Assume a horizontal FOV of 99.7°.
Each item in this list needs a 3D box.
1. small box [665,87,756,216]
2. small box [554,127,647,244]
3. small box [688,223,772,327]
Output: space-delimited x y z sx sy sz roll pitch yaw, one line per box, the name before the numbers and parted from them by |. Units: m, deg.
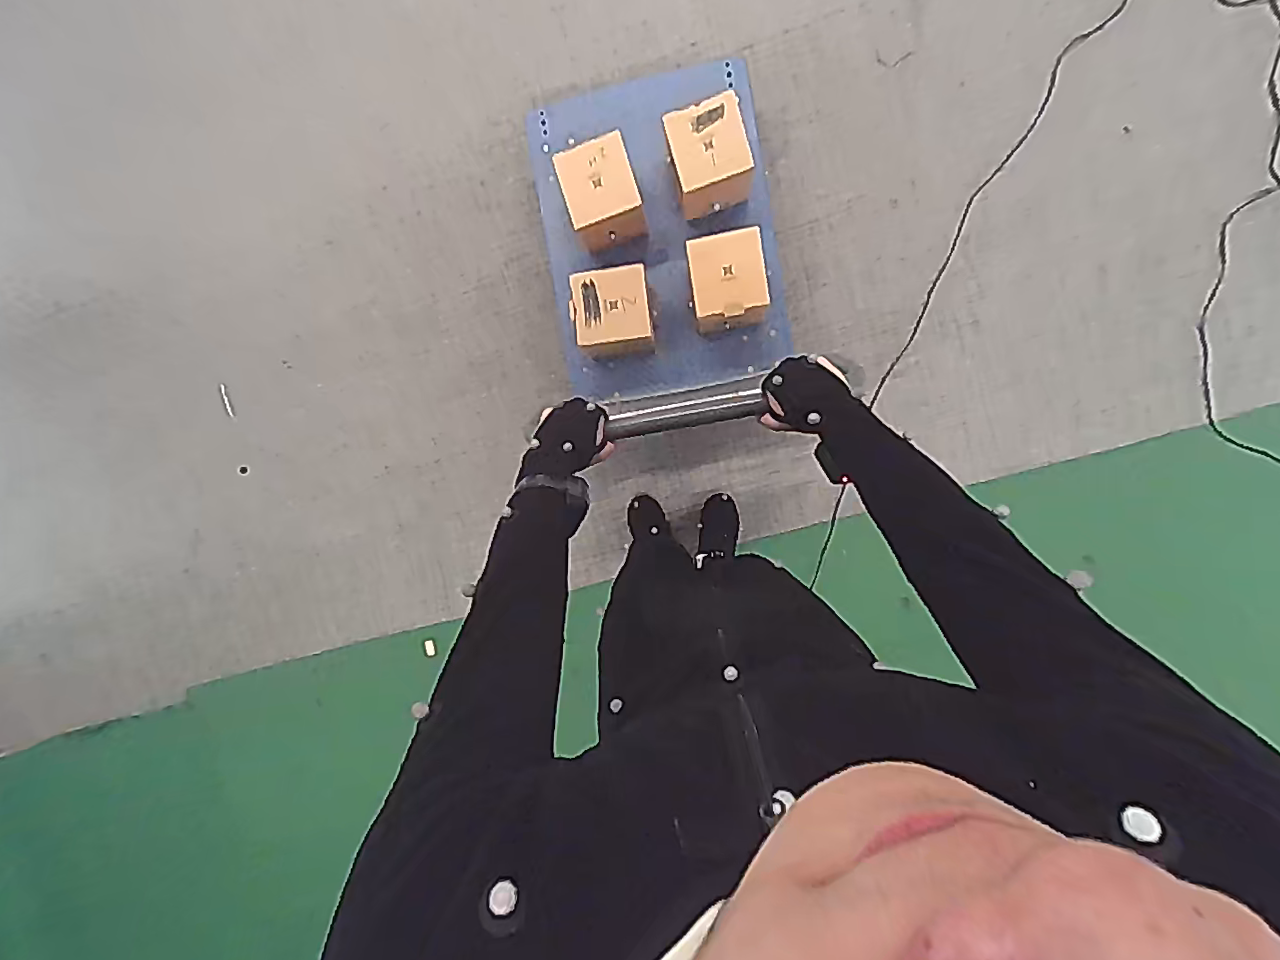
small box | 0.162 -0.759 1.266 0.168 0.176 0.179 -16 93 8
small box | -0.087 -0.691 1.297 0.168 0.176 0.179 -17 92 6
small box | 0.207 -0.478 1.284 0.168 0.176 0.179 -9 94 6
